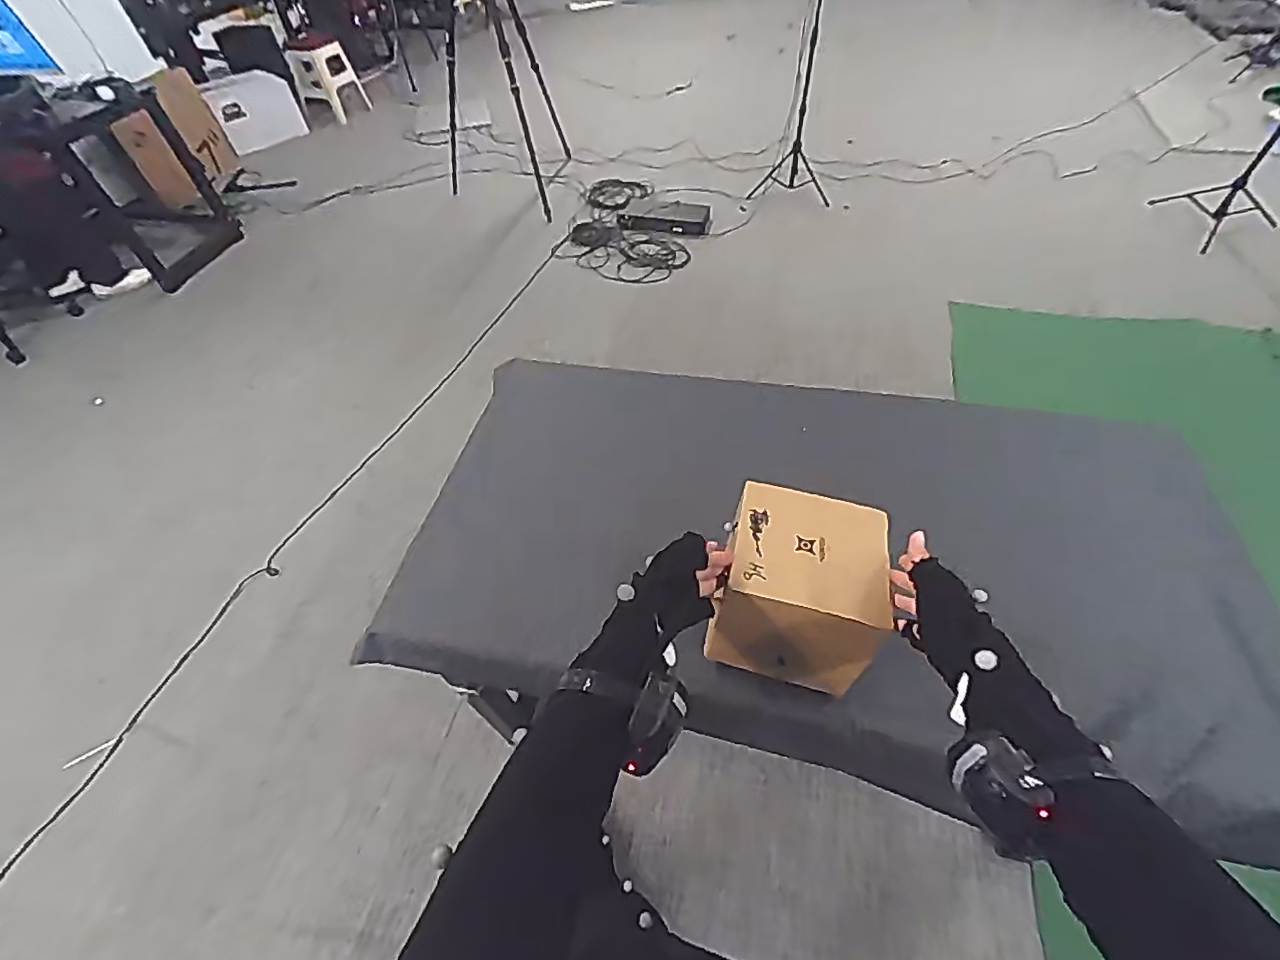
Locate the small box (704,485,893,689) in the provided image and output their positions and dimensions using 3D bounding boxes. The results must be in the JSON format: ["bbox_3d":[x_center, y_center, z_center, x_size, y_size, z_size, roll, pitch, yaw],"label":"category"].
[{"bbox_3d":[0.190,0.138,0.675,0.179,0.176,0.168,14,47,7],"label":"small box"}]
